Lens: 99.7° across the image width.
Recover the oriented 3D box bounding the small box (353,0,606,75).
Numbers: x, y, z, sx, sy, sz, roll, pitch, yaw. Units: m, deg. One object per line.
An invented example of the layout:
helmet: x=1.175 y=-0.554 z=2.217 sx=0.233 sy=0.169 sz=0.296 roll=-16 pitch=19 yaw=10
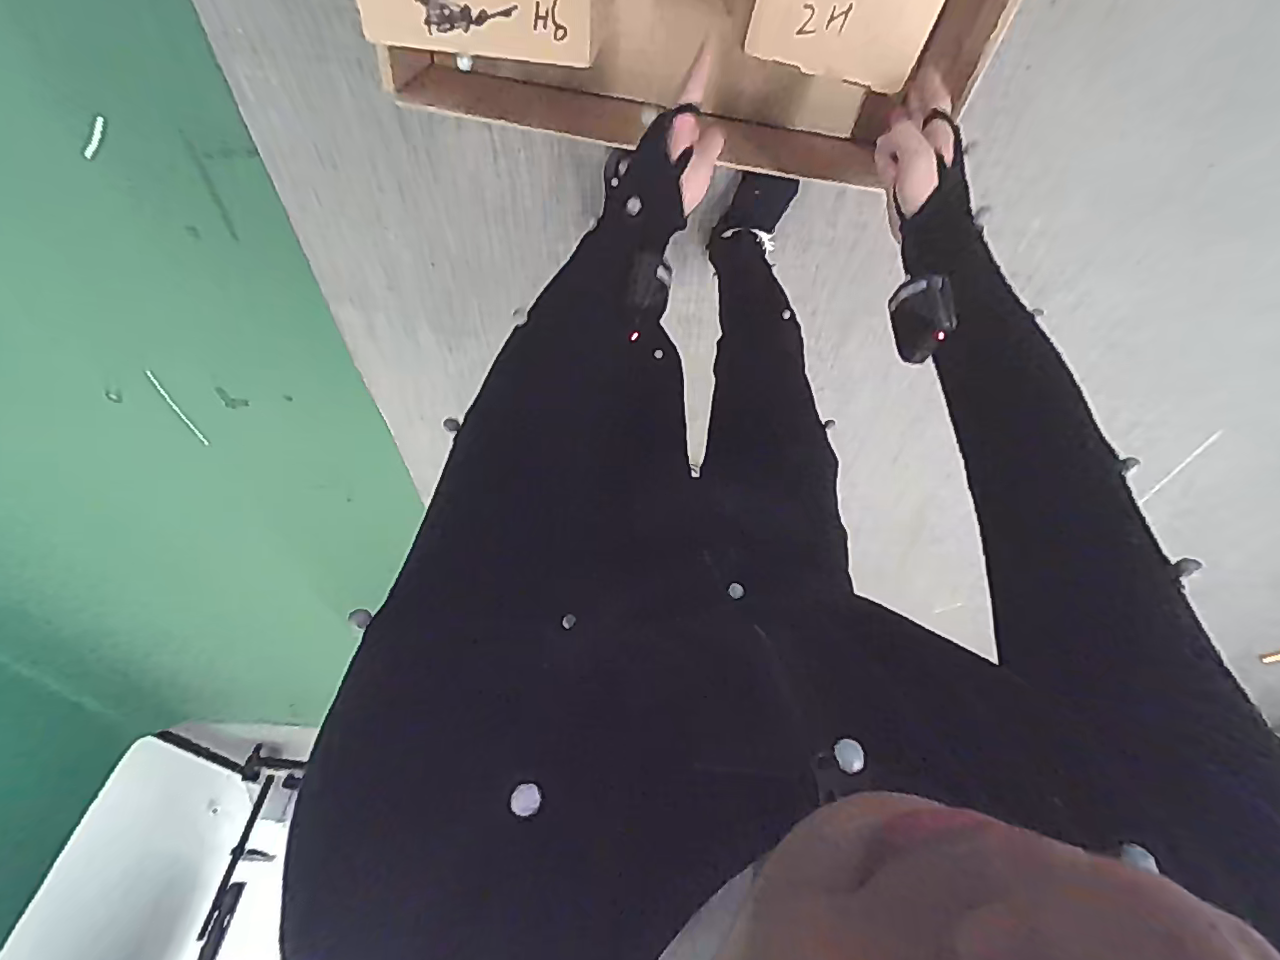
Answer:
small box: x=-0.113 y=-0.432 z=0.397 sx=0.168 sy=0.176 sz=0.179 roll=7 pitch=139 yaw=0

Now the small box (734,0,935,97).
small box: x=0.193 y=-0.513 z=0.520 sx=0.168 sy=0.176 sz=0.179 roll=11 pitch=140 yaw=-6
